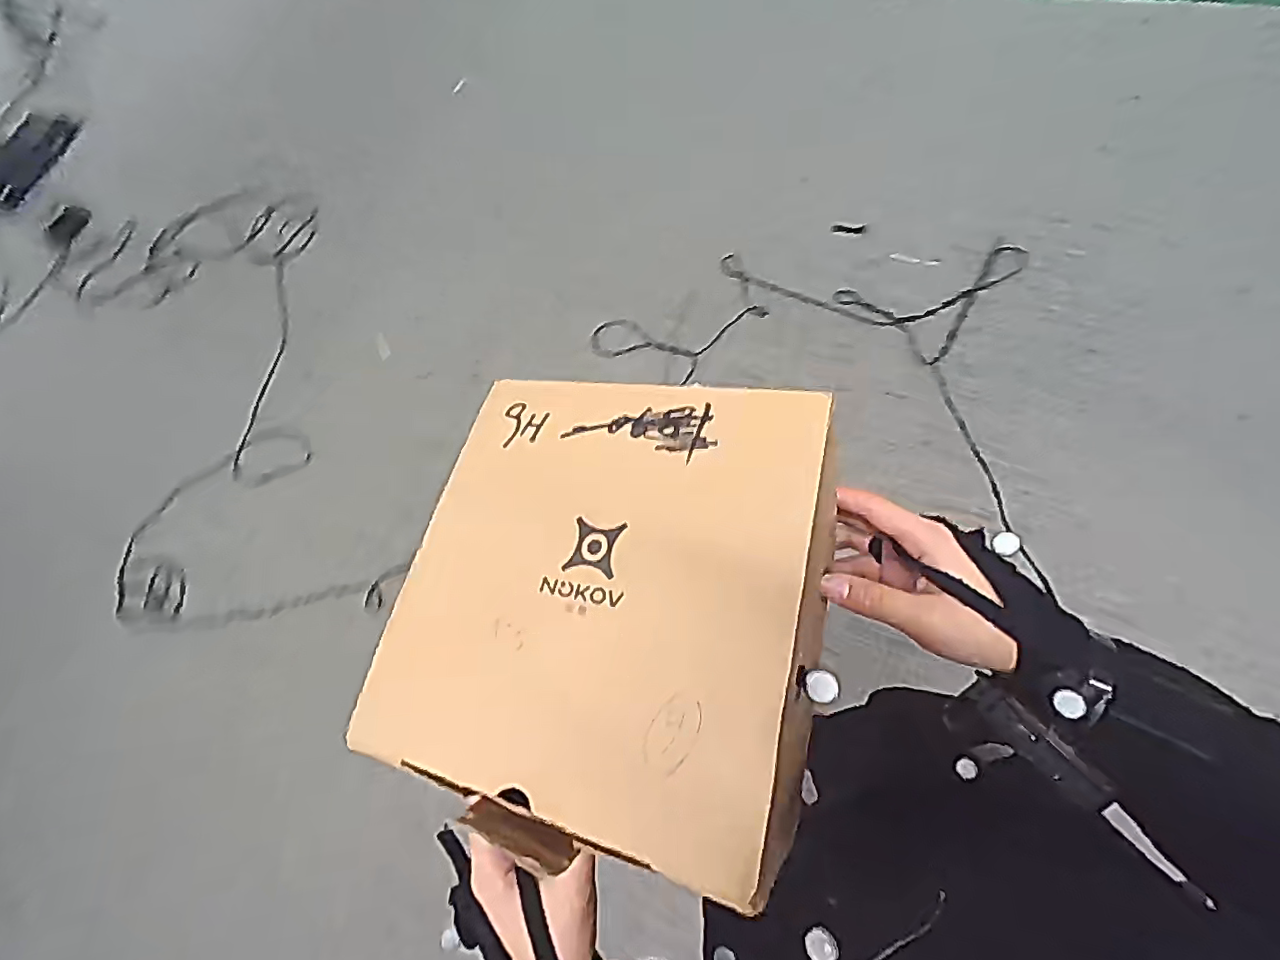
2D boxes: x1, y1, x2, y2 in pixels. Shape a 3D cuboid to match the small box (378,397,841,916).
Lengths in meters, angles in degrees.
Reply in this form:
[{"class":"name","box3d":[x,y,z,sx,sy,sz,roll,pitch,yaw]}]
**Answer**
[{"class":"small box","box3d":[0.011,0.078,0.290,0.168,0.176,0.179,8,68,23]}]
